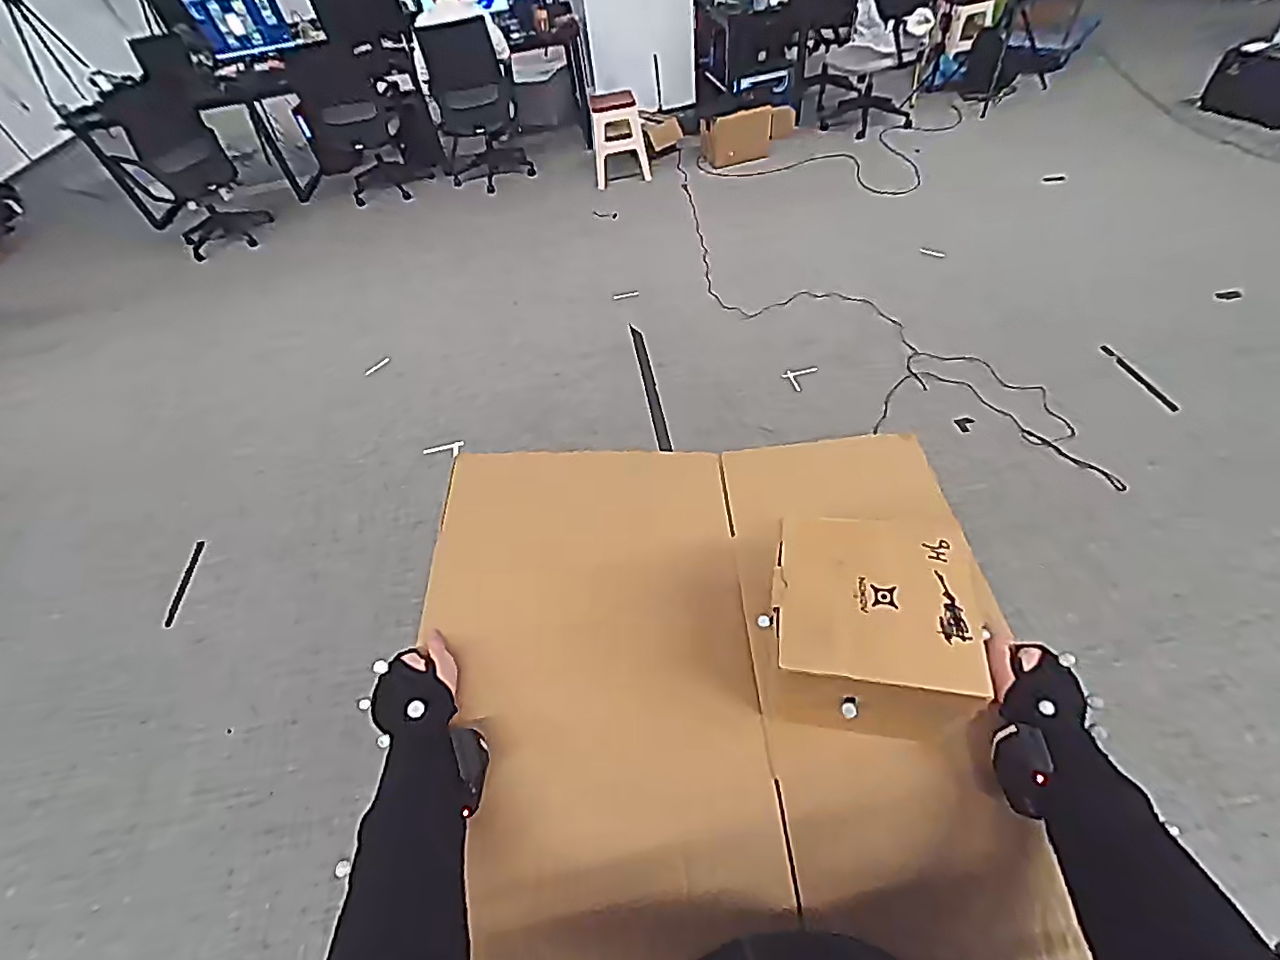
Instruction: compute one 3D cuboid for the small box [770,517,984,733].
[{"bbox_3d":[0.232,0.157,0.578,0.179,0.176,0.168,3,54,13],"label":"small box"}]
